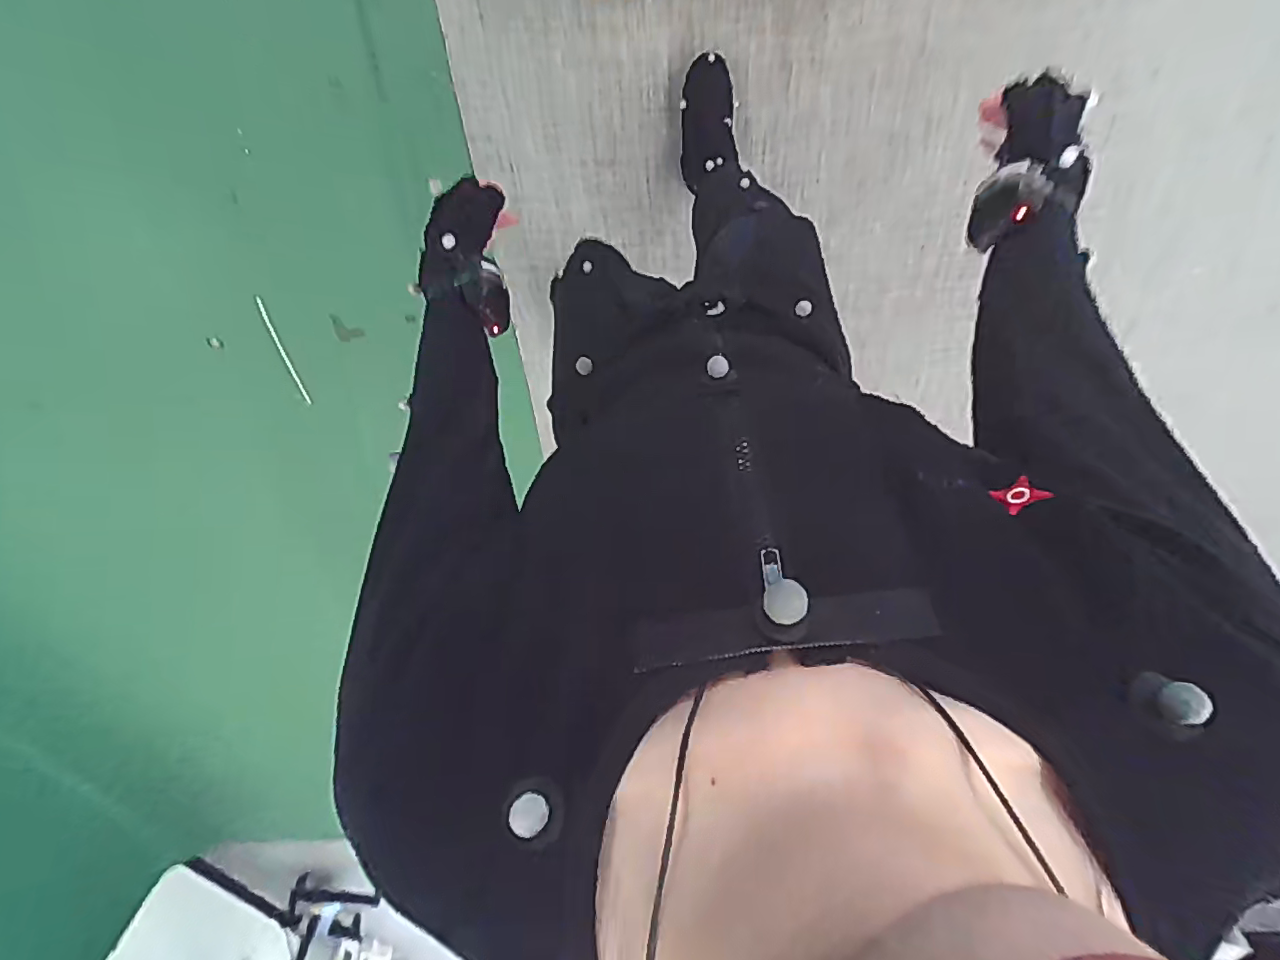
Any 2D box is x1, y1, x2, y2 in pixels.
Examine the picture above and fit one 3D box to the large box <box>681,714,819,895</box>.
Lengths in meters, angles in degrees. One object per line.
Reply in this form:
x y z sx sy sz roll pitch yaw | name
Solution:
0.273 0.891 1.490 0.320 0.320 0.408 0 128 2 | large box
